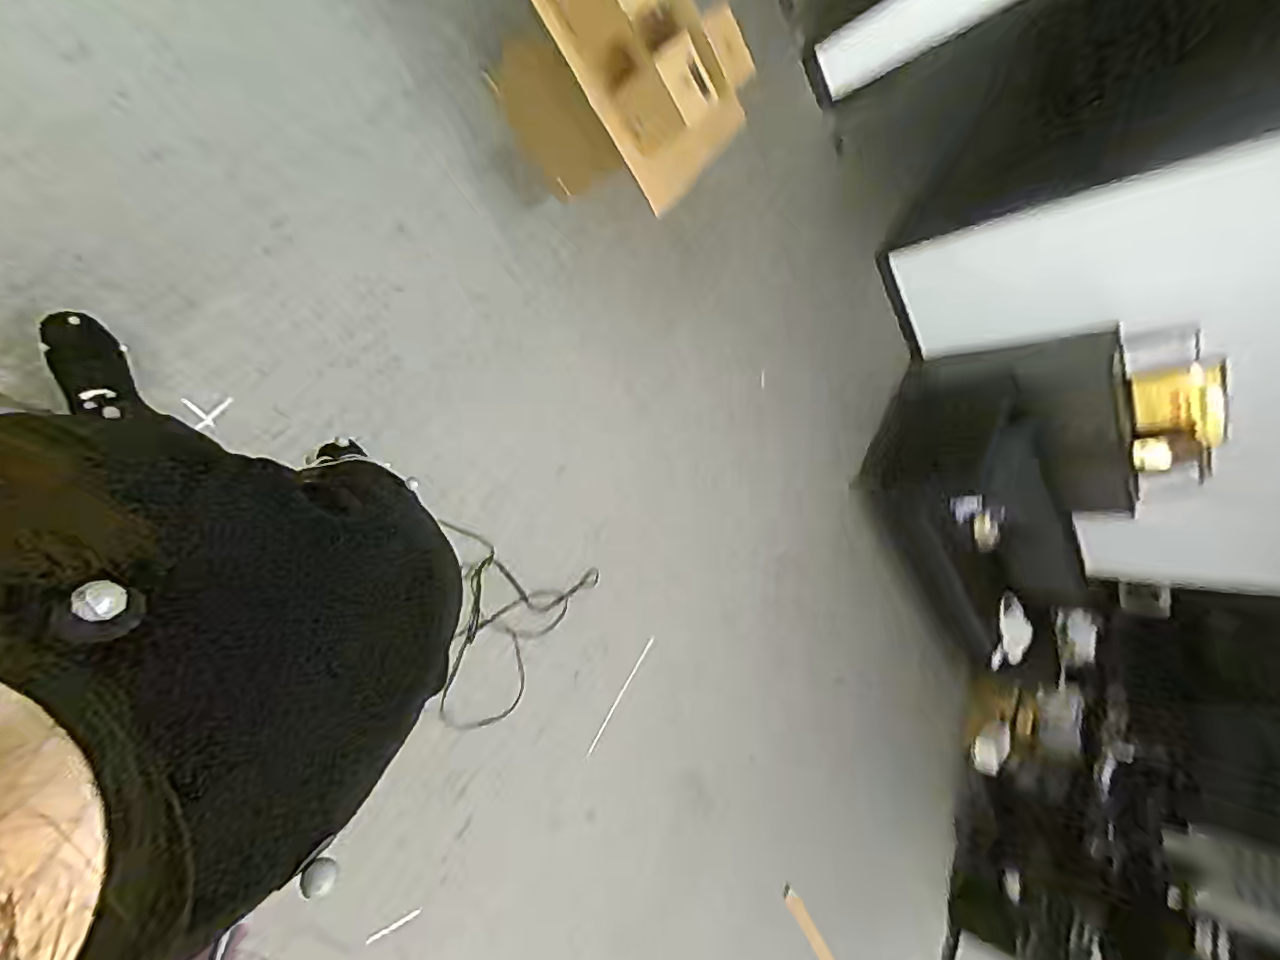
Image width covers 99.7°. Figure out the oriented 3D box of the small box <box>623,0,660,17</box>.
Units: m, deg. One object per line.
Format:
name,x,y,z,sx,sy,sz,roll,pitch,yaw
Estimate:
small box,0.032,-1.299,1.324,0.168,0.176,0.179,48,59,-29
